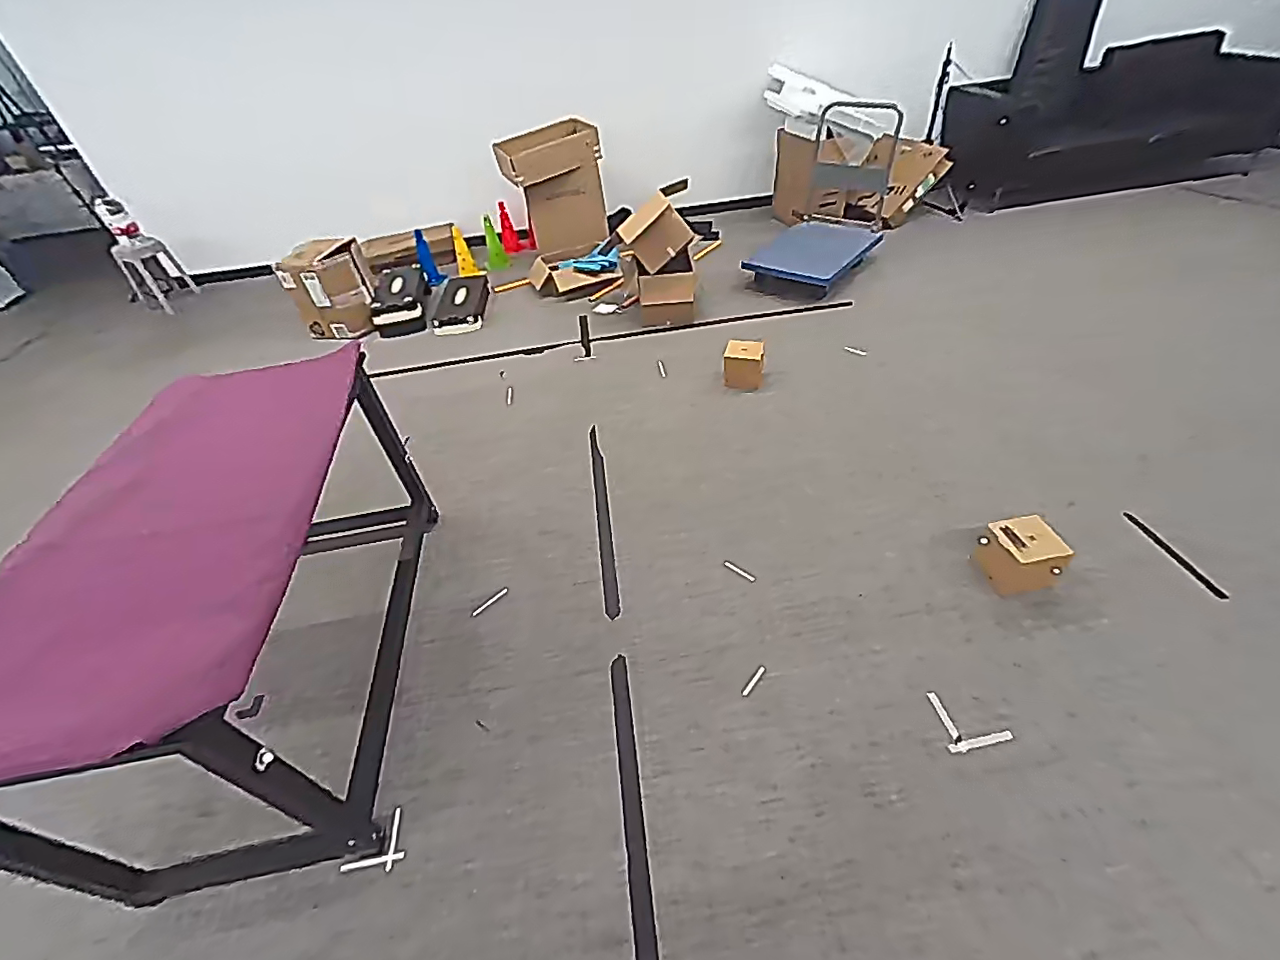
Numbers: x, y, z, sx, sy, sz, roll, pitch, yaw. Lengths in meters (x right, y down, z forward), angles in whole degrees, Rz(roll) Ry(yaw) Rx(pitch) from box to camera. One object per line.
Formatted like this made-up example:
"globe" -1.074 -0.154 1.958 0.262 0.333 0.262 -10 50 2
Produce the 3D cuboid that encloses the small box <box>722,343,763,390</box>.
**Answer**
"small box" 0.507 -0.559 2.674 0.179 0.176 0.168 8 44 15
